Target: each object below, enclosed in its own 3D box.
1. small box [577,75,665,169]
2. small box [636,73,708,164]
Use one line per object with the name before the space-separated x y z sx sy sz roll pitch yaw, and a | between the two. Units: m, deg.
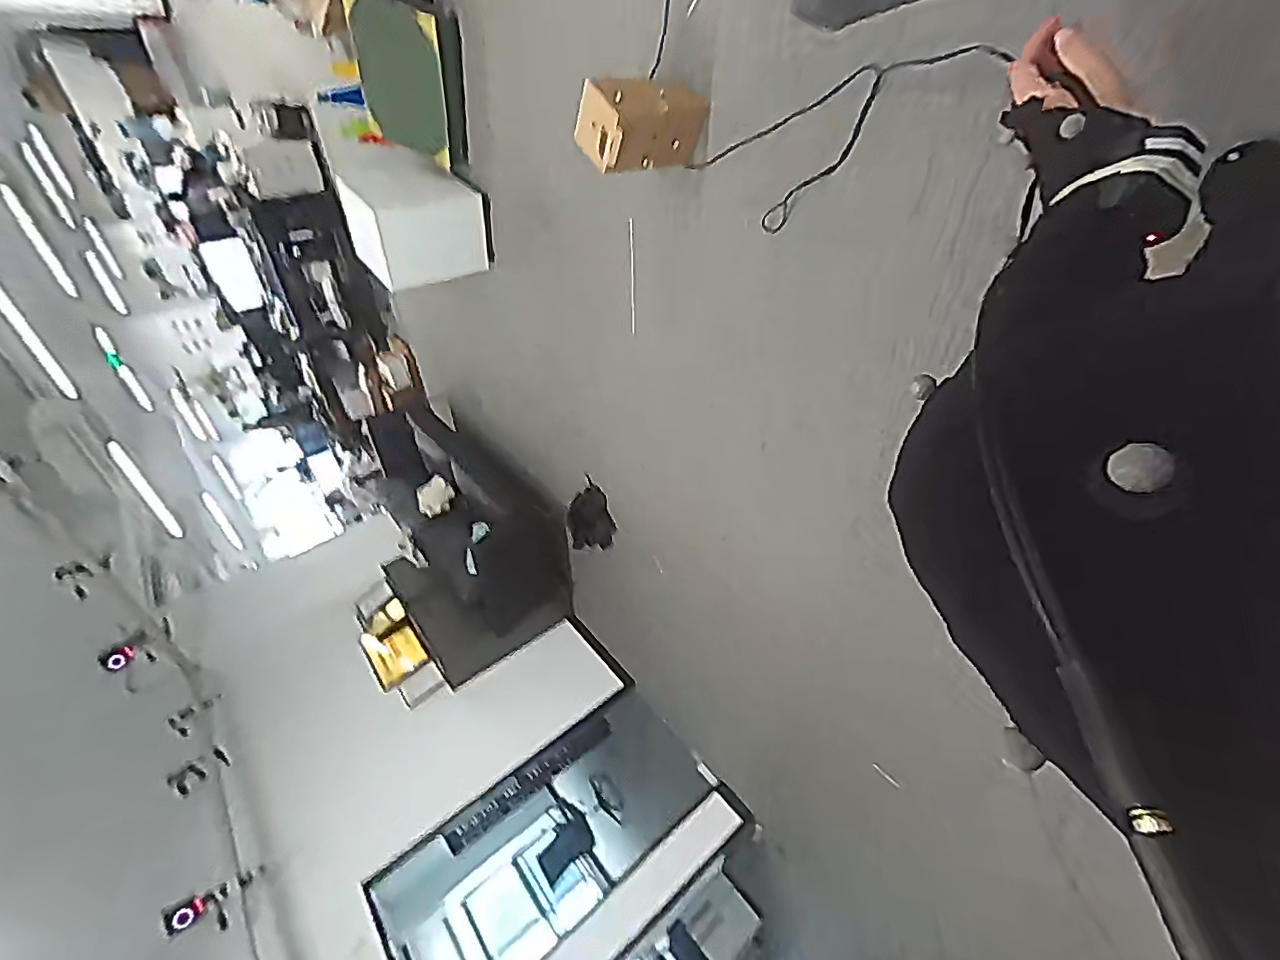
small box | -0.054 -1.037 1.562 0.179 0.176 0.168 56 148 14
small box | 0.080 -1.096 1.639 0.168 0.176 0.179 52 148 18
